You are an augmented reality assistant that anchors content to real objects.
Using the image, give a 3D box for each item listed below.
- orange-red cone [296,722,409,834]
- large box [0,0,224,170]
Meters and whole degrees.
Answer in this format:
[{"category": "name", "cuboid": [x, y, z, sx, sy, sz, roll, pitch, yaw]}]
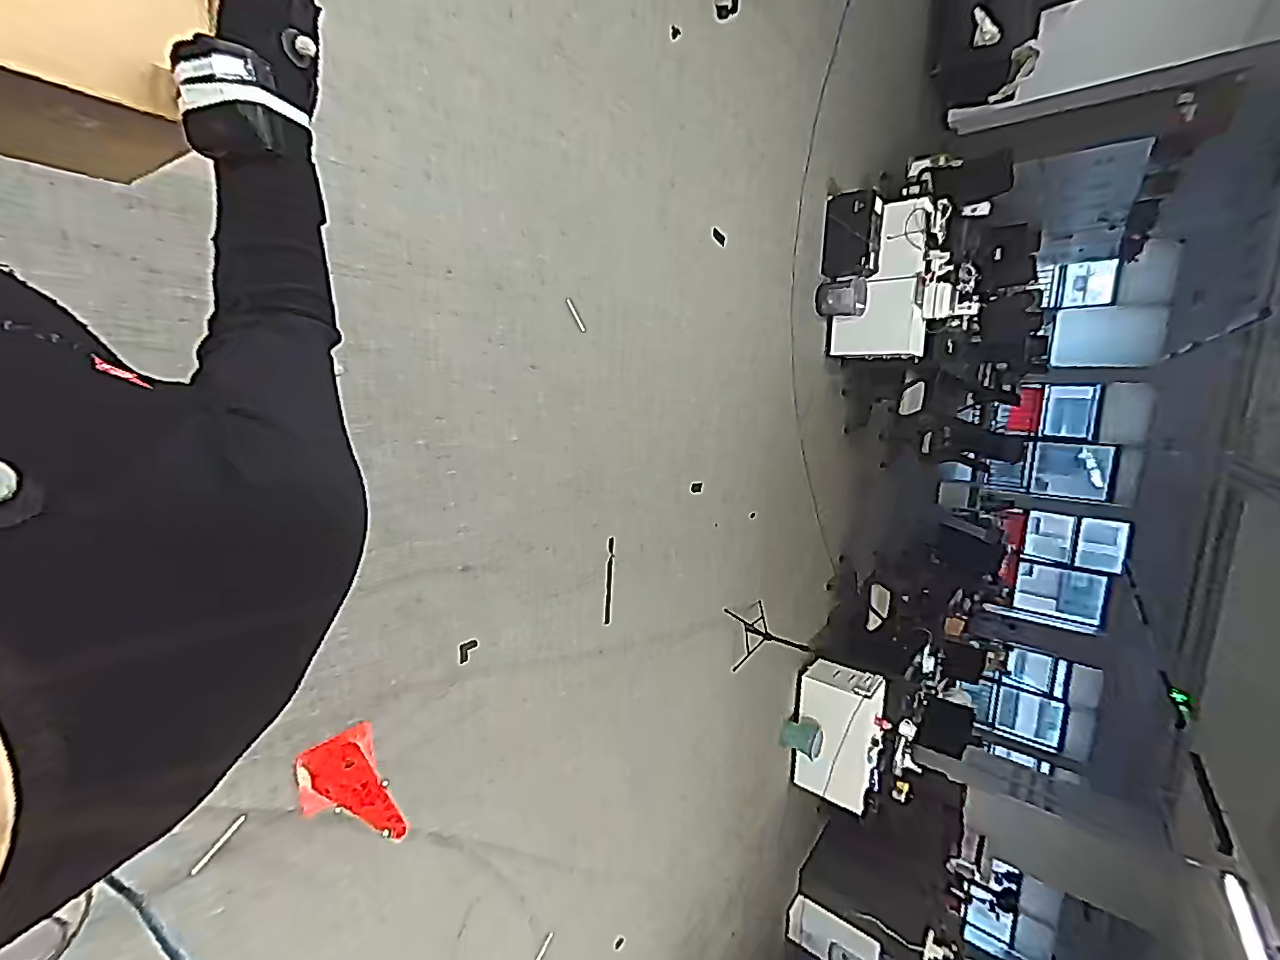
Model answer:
[{"category": "orange-red cone", "cuboid": [-0.725, 0.831, 1.432, 0.198, 0.360, 0.199, -14, 107, -51]}, {"category": "large box", "cuboid": [-0.539, -0.421, 0.303, 0.408, 0.320, 0.320, -11, 111, -53]}]
